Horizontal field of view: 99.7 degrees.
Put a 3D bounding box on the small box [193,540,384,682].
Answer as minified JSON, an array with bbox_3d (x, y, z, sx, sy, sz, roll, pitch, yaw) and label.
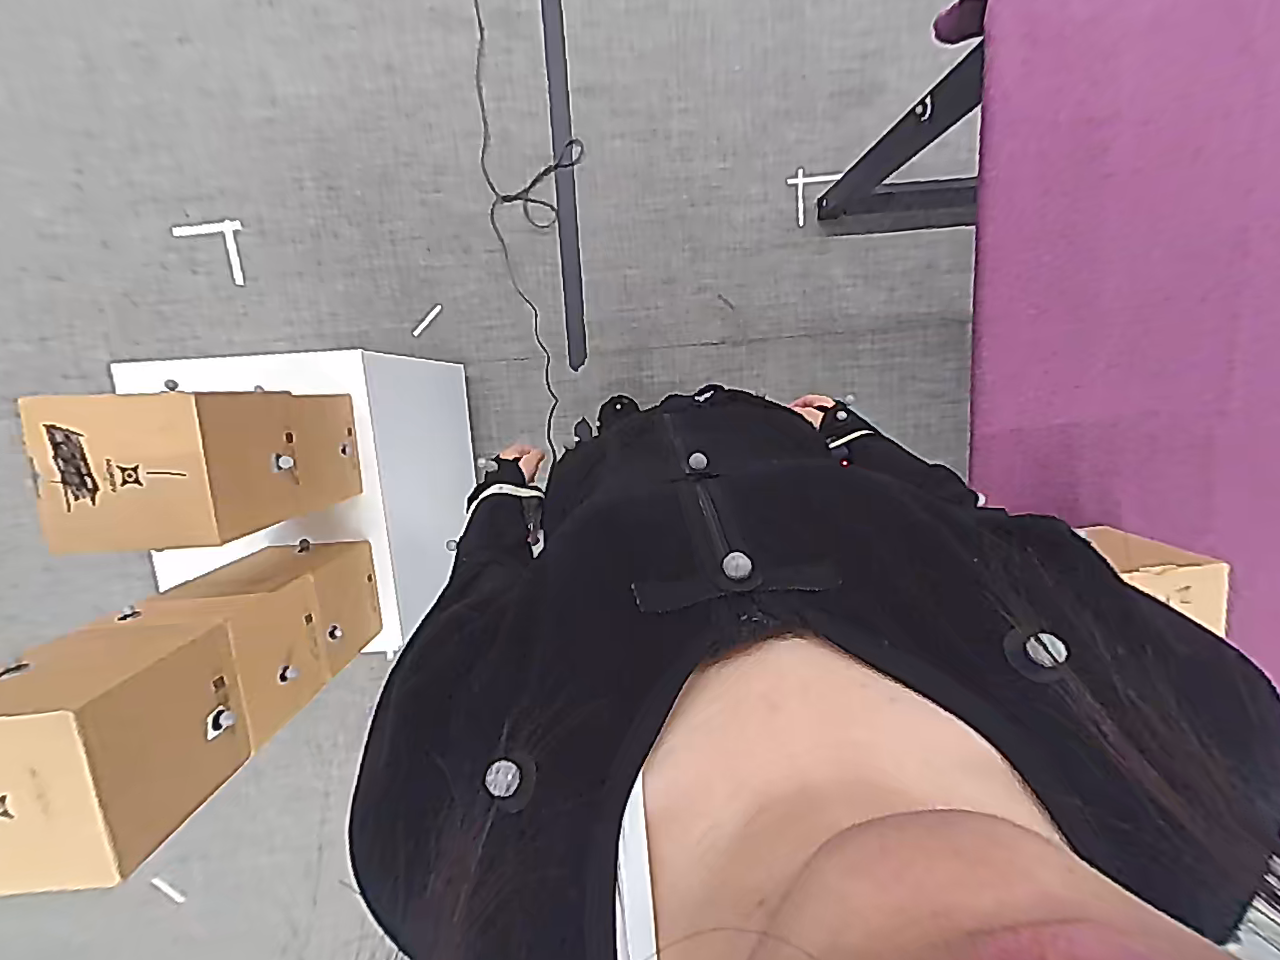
[{"bbox_3d":[-0.529,0.197,0.839,0.179,0.176,0.168,-3,100,1],"label":"small box"}]

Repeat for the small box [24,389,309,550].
[{"bbox_3d":[-0.531,-0.021,0.635,0.179,0.176,0.168,-2,100,-2],"label":"small box"}]

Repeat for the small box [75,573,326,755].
[{"bbox_3d":[-0.524,0.223,0.679,0.179,0.176,0.168,-4,100,0],"label":"small box"}]

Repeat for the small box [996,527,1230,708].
[{"bbox_3d":[0.609,0.173,0.721,0.168,0.176,0.179,-6,99,-1],"label":"small box"}]

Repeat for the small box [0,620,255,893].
[{"bbox_3d":[-0.523,0.249,0.518,0.179,0.176,0.168,-5,101,-1],"label":"small box"}]
